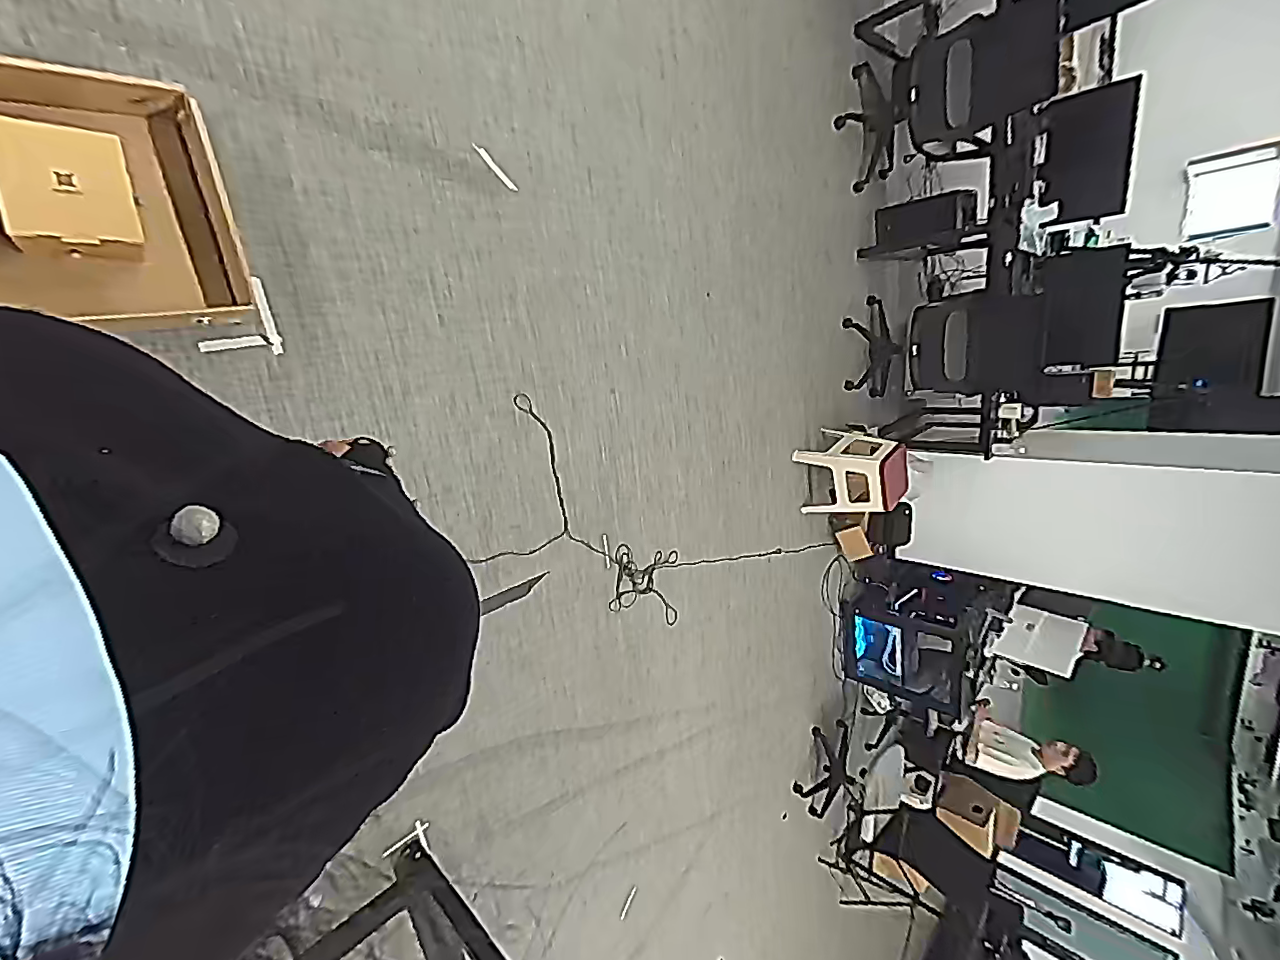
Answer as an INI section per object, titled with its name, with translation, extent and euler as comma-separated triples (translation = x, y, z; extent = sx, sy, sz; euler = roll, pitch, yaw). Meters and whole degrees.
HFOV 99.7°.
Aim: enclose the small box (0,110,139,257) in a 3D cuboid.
[small box]
translation = -0.999, -0.499, 0.932
extent = 0.168, 0.176, 0.179
euler = -15, 106, -42
